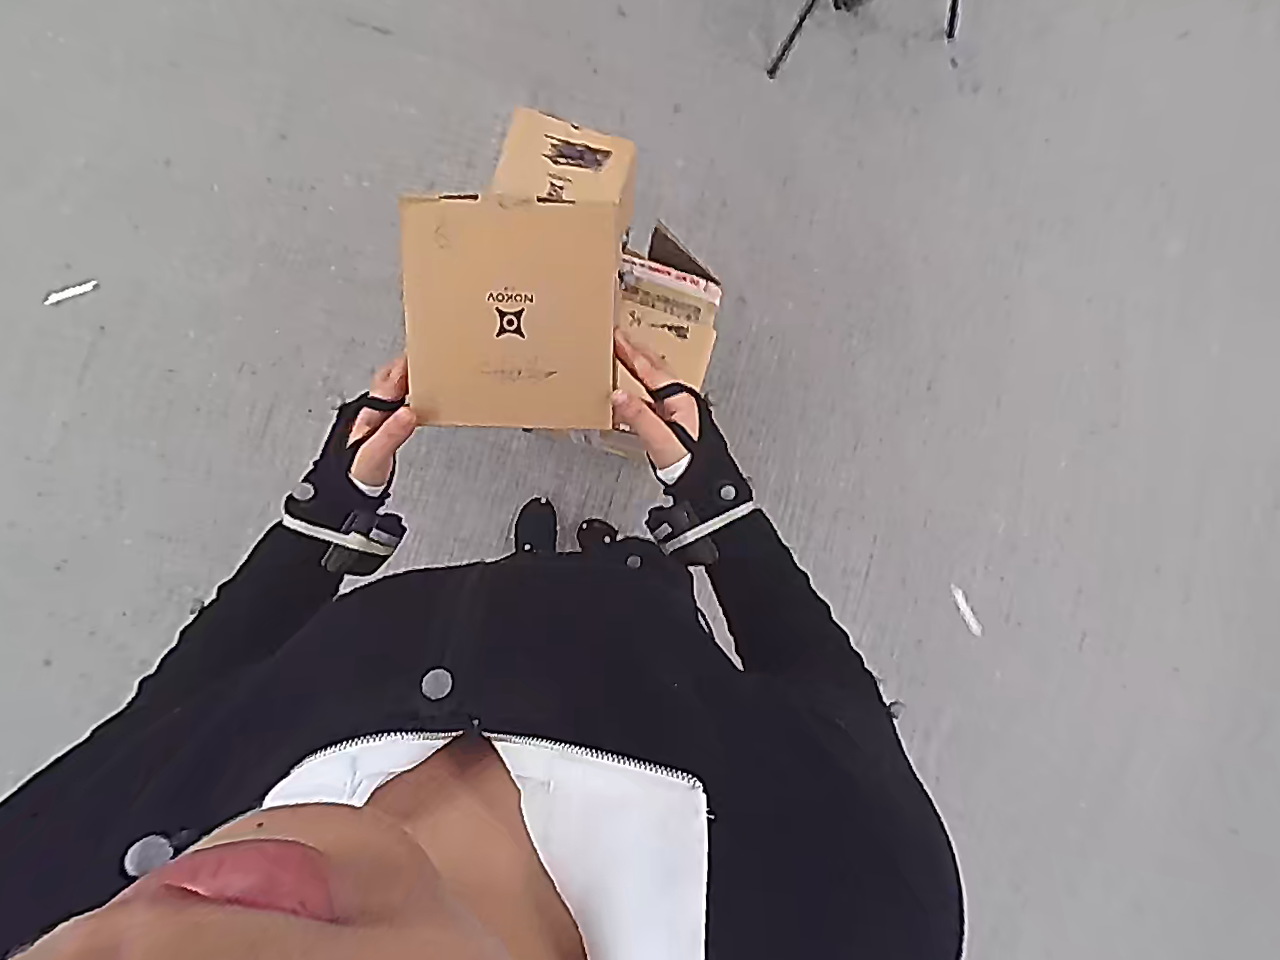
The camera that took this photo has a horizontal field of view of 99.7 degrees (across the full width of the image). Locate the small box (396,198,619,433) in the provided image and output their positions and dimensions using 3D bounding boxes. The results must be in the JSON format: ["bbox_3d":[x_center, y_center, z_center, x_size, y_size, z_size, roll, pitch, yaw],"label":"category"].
[{"bbox_3d":[-0.105,-0.140,0.500,0.168,0.176,0.179,1,102,-1],"label":"small box"}]

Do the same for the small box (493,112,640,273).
[{"bbox_3d":[-0.106,-0.378,0.791,0.168,0.176,0.179,17,88,-1],"label":"small box"}]

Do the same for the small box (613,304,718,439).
[{"bbox_3d":[0.021,-0.179,0.958,0.168,0.176,0.179,17,88,-4],"label":"small box"}]
